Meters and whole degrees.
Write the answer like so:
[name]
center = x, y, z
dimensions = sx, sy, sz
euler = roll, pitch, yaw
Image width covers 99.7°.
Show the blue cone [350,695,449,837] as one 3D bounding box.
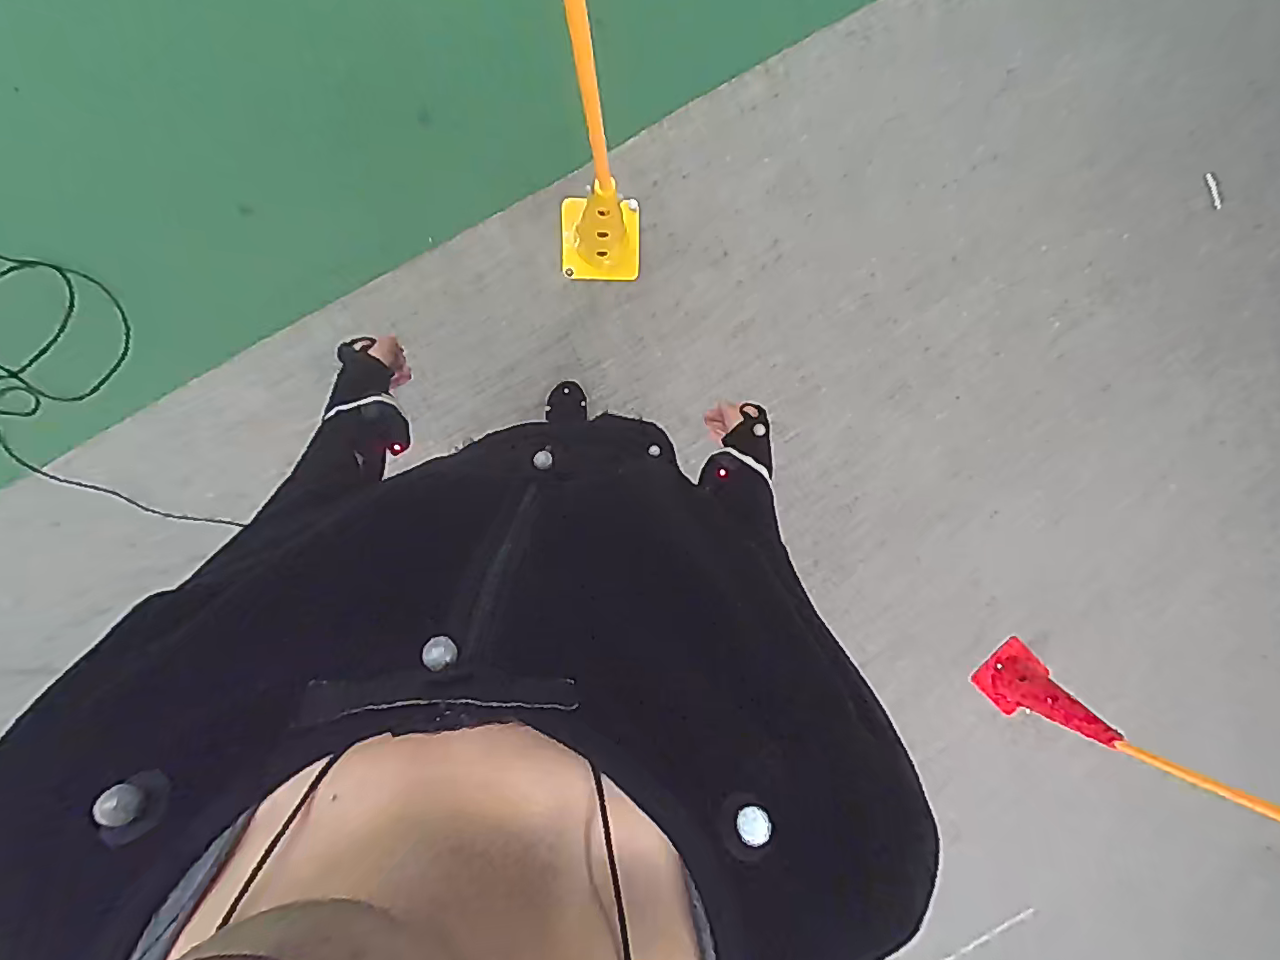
[blue cone]
center = -0.624, 0.731, 1.359
dimensions = 0.192, 0.380, 0.193
euler = 15, 99, -9
